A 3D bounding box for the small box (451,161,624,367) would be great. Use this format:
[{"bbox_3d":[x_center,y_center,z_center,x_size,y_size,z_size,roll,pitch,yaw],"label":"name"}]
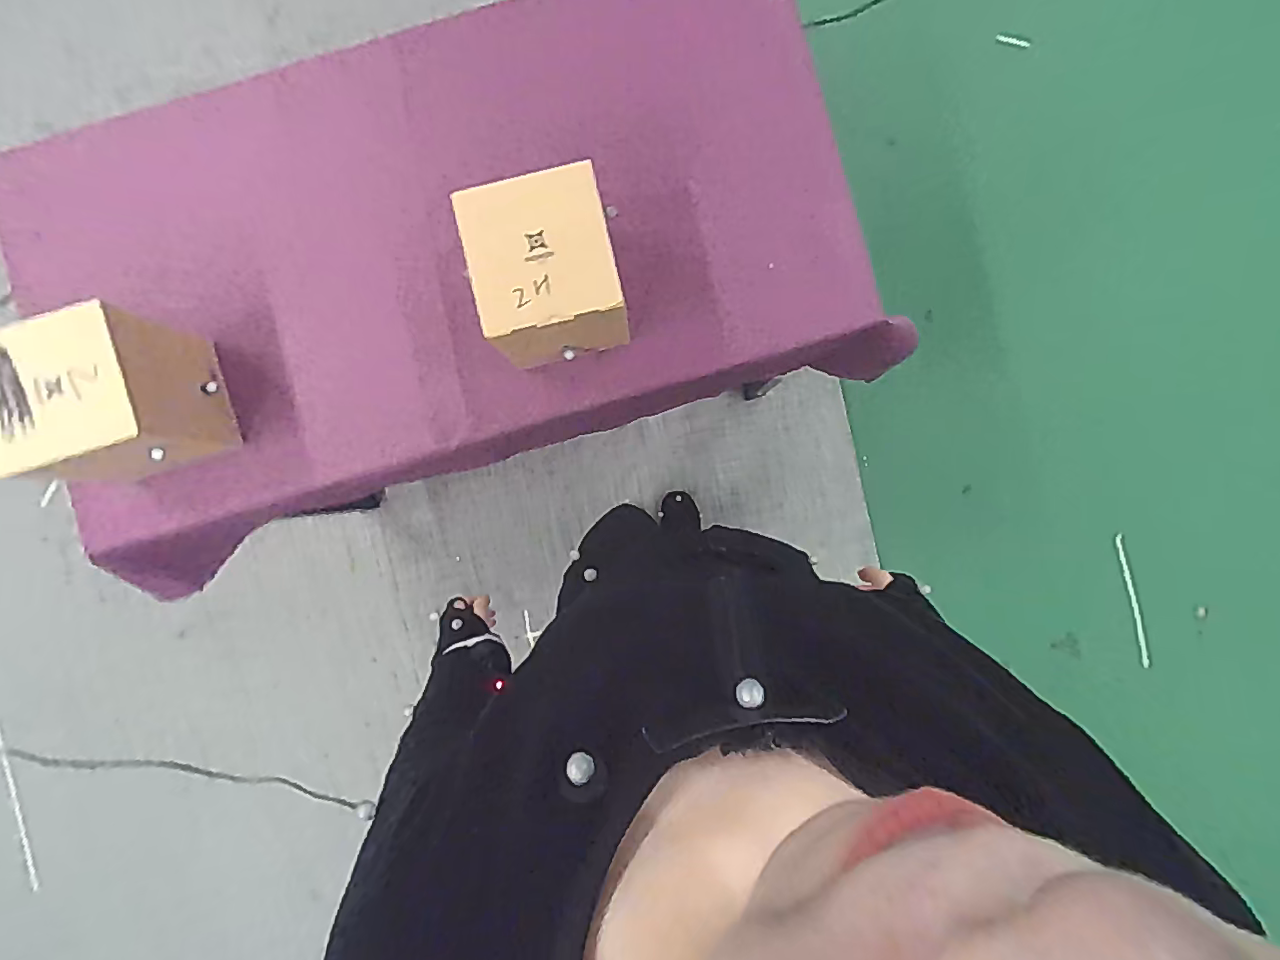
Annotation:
[{"bbox_3d":[-0.119,-0.262,0.695,0.168,0.176,0.179,-13,90,1],"label":"small box"}]
